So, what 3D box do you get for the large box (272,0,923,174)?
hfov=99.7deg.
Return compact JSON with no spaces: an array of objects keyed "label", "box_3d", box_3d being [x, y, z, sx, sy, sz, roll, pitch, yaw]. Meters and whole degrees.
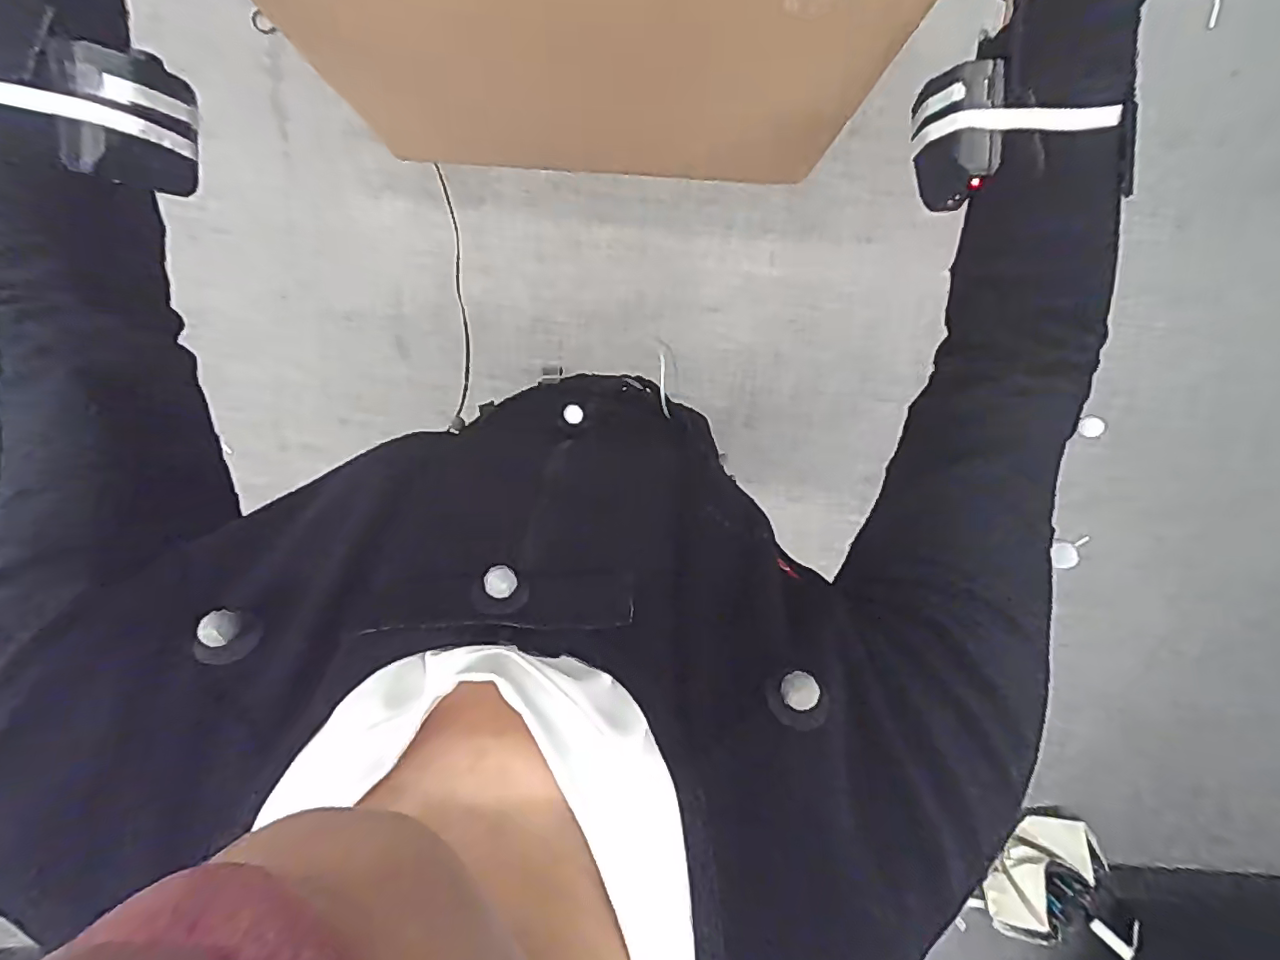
[{"label":"large box","box_3d":[-0.028,-0.440,0.369,0.408,0.320,0.320,2,98,-2]}]
